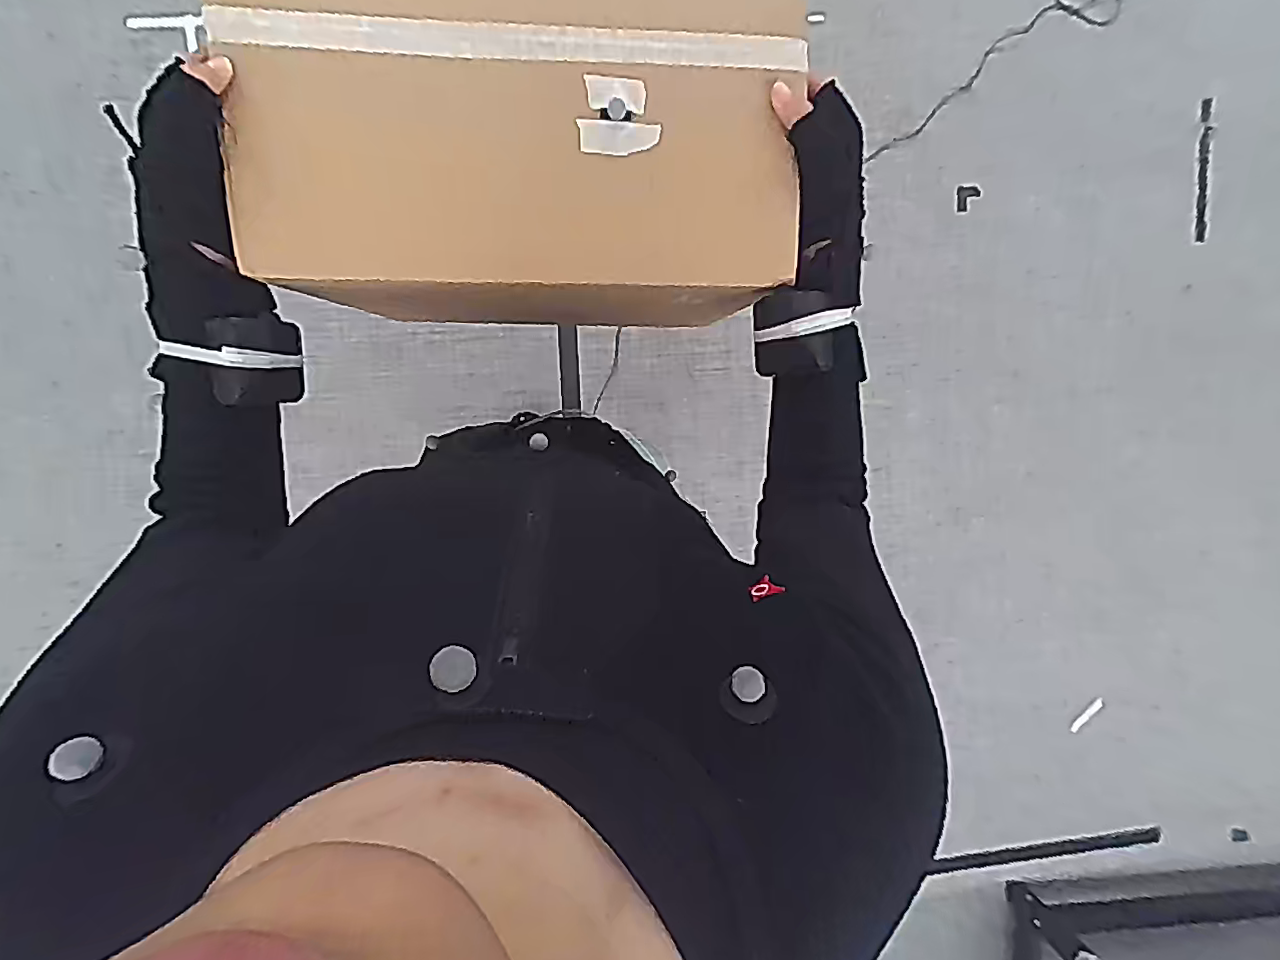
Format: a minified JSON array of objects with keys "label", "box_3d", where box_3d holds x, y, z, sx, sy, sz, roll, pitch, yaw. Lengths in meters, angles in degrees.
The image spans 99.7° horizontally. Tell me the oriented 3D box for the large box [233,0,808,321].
[{"label":"large box","box_3d":[-0.091,-0.332,0.527,0.408,0.320,0.320,-1,102,-6]}]
